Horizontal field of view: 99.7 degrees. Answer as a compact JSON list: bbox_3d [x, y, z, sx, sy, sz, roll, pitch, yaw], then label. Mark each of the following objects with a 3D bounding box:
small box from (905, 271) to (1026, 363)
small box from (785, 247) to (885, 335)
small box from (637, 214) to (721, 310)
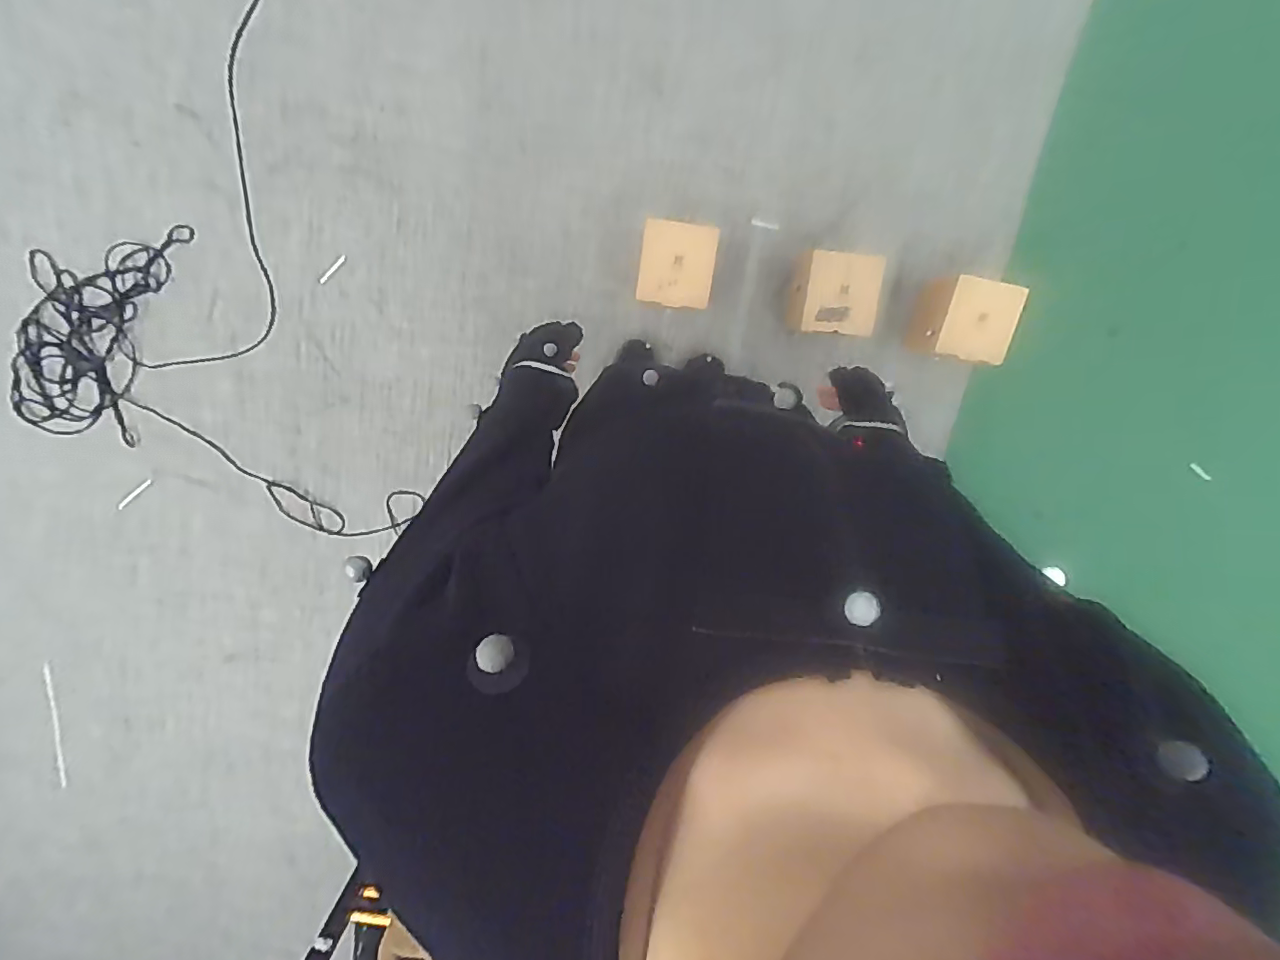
[{"bbox_3d":[0.774,-0.389,1.307,0.168,0.176,0.179,11,105,-2],"label":"small box"},{"bbox_3d":[0.455,-0.445,1.293,0.168,0.176,0.179,6,104,-1],"label":"small box"},{"bbox_3d":[0.085,-0.507,1.278,0.168,0.176,0.179,8,106,0],"label":"small box"}]
